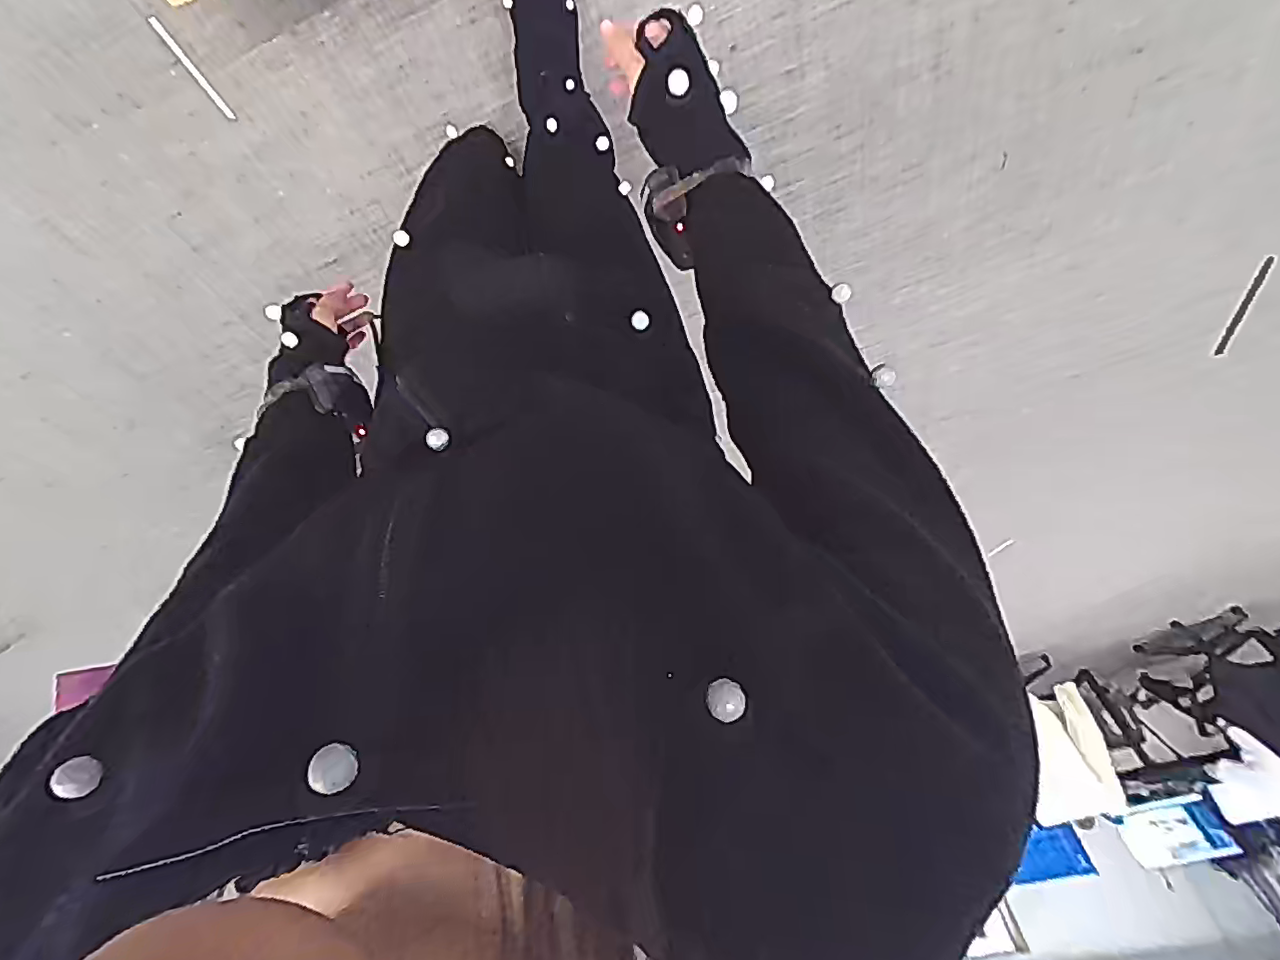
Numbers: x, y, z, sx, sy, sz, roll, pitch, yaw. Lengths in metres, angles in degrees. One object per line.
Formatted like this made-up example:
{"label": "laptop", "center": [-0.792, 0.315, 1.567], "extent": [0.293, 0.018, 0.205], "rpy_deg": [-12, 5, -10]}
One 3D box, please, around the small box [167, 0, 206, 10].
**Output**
{"label": "small box", "center": [-0.498, -0.679, 0.608], "extent": [0.168, 0.176, 0.179], "rpy_deg": [-17, 138, 5]}
